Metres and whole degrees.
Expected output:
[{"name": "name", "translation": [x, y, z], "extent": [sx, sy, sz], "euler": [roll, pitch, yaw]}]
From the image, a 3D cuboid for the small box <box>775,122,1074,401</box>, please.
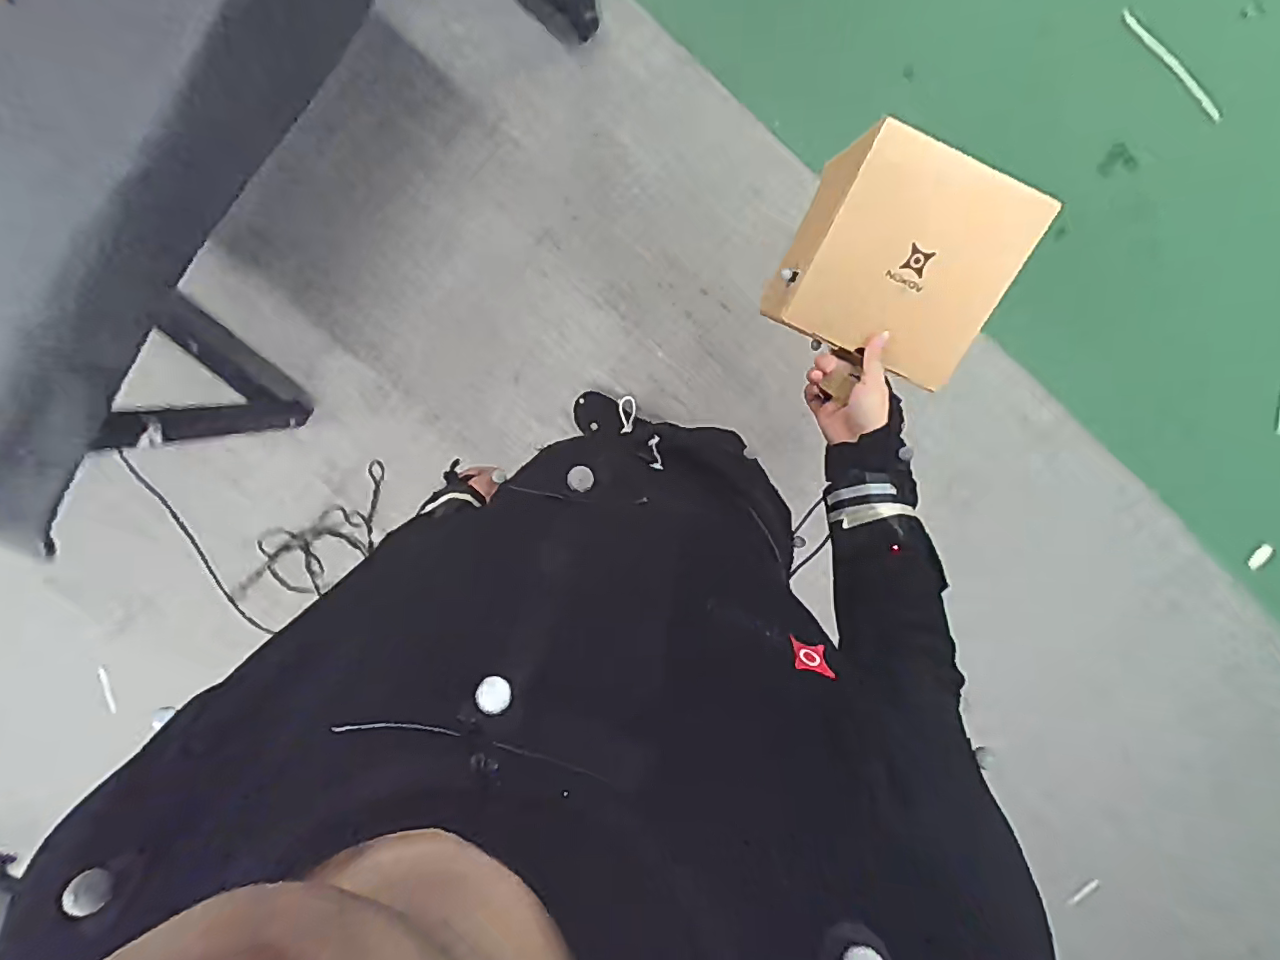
[{"name": "small box", "translation": [0.251, -0.206, 0.535], "extent": [0.168, 0.176, 0.179], "euler": [25, 111, -4]}]
